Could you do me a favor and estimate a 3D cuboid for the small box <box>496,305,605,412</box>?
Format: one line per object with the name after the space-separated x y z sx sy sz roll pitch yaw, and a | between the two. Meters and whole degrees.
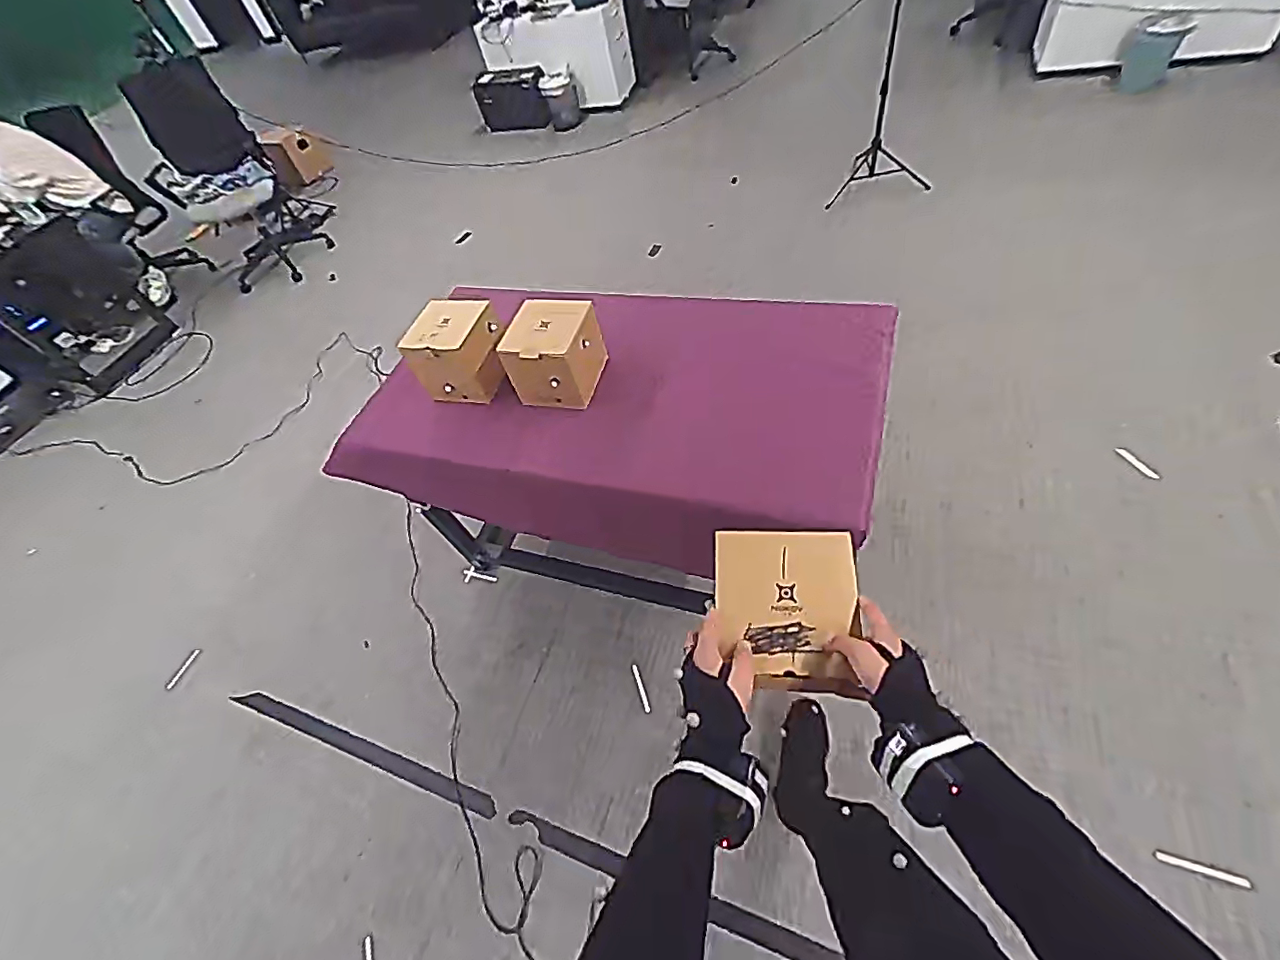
-0.192 -0.275 1.229 0.168 0.176 0.179 7 56 18 | small box

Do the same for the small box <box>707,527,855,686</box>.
0.176 0.171 0.713 0.168 0.176 0.179 0 64 9 | small box

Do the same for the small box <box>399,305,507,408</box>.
-0.431 -0.297 1.300 0.168 0.176 0.179 5 56 18 | small box
